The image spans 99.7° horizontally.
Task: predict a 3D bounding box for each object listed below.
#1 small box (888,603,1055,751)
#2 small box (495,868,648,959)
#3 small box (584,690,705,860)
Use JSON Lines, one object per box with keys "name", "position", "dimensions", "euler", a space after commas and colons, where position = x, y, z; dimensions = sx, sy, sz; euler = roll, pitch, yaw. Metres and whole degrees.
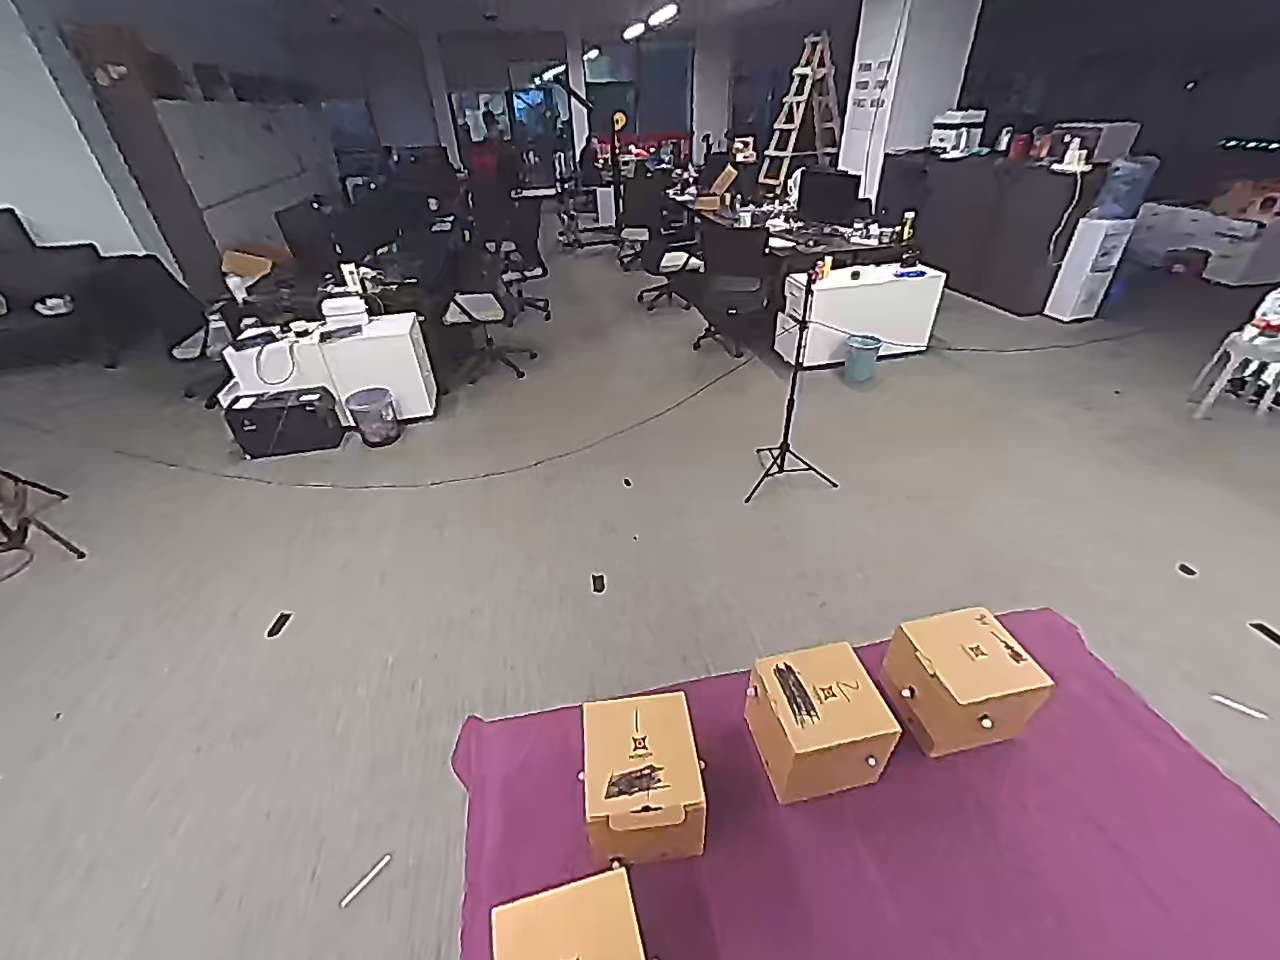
{"name": "small box", "position": [0.562, 0.348, 0.951], "dimensions": [0.179, 0.176, 0.168], "euler": [-9, 38, -7]}
{"name": "small box", "position": [-0.071, 0.604, 0.630], "dimensions": [0.168, 0.176, 0.179], "euler": [-10, 37, -13]}
{"name": "small box", "position": [0.005, 0.458, 0.836], "dimensions": [0.168, 0.176, 0.179], "euler": [-5, 35, -4]}
